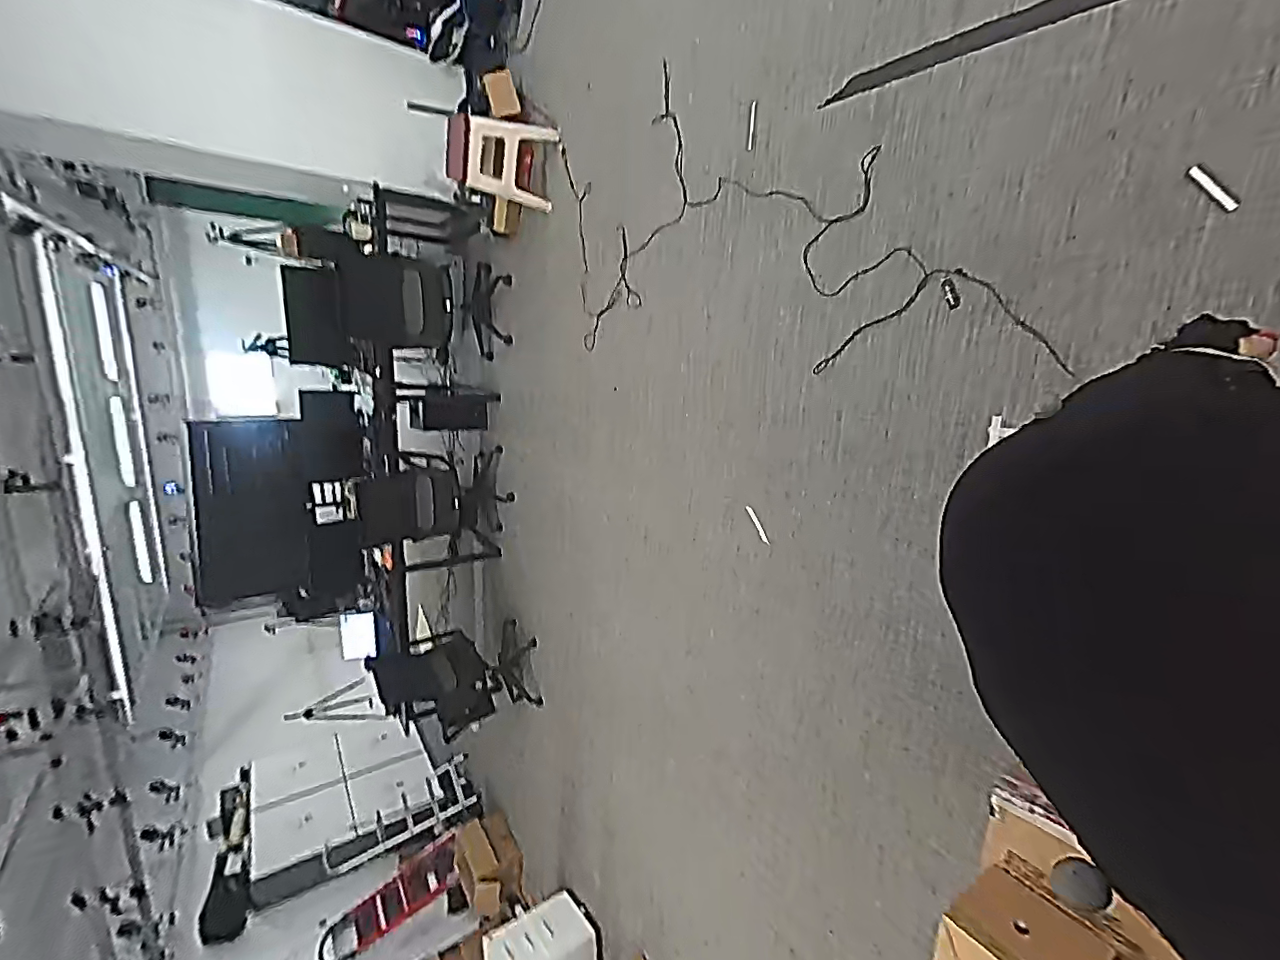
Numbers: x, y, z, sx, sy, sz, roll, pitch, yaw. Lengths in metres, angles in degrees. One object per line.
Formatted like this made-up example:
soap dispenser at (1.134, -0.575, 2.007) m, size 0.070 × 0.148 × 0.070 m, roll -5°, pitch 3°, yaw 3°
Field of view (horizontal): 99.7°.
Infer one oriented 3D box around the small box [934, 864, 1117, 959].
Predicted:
small box at (0.558, 0.734, 0.797) m, size 0.168 × 0.176 × 0.179 m, roll 19°, pitch 109°, yaw 56°
